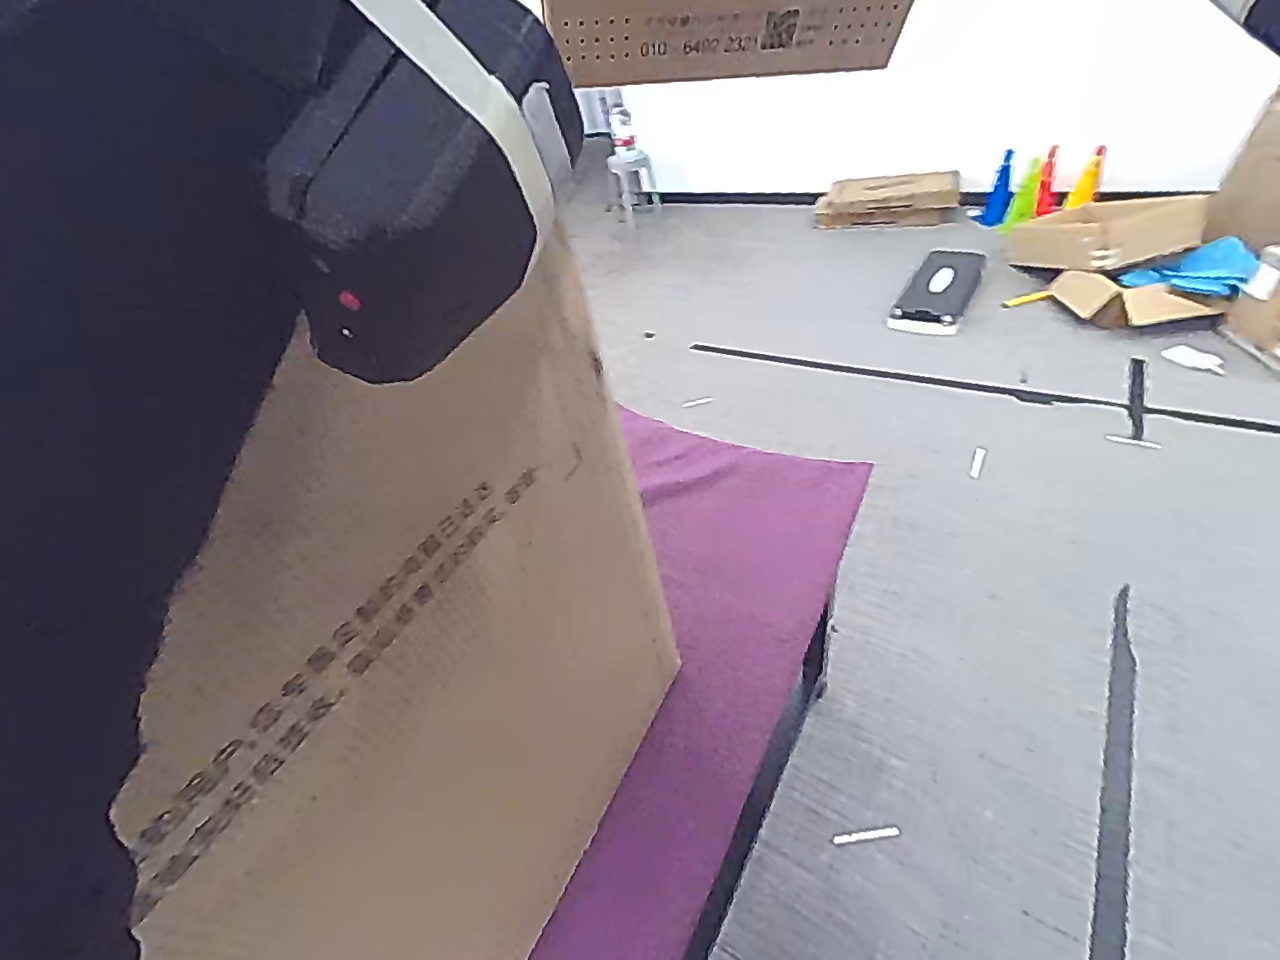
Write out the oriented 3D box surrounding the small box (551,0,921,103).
[{"bbox_3d":[0.035,-0.297,0.226,0.168,0.176,0.179,-8,66,-5],"label":"small box"}]
